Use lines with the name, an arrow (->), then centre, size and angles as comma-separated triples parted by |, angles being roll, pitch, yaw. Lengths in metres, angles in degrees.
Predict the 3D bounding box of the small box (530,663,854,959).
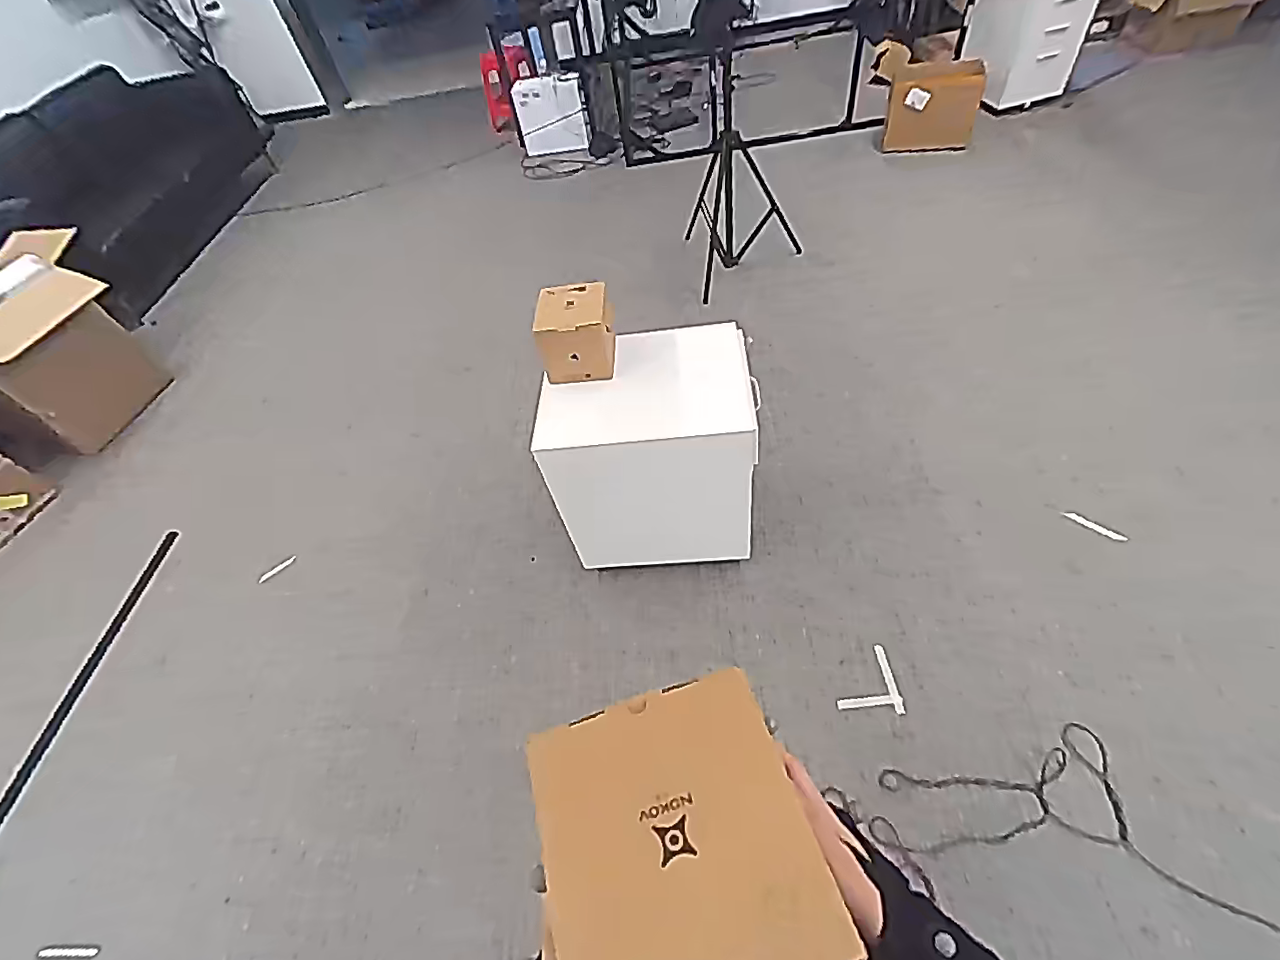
small box -> 0.031, 0.274, 0.401 | 0.168, 0.176, 0.179 | -17, 45, -6

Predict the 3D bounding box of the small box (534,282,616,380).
small box -> -0.154, -0.365, 1.356 | 0.168, 0.176, 0.179 | -4, 53, 6
